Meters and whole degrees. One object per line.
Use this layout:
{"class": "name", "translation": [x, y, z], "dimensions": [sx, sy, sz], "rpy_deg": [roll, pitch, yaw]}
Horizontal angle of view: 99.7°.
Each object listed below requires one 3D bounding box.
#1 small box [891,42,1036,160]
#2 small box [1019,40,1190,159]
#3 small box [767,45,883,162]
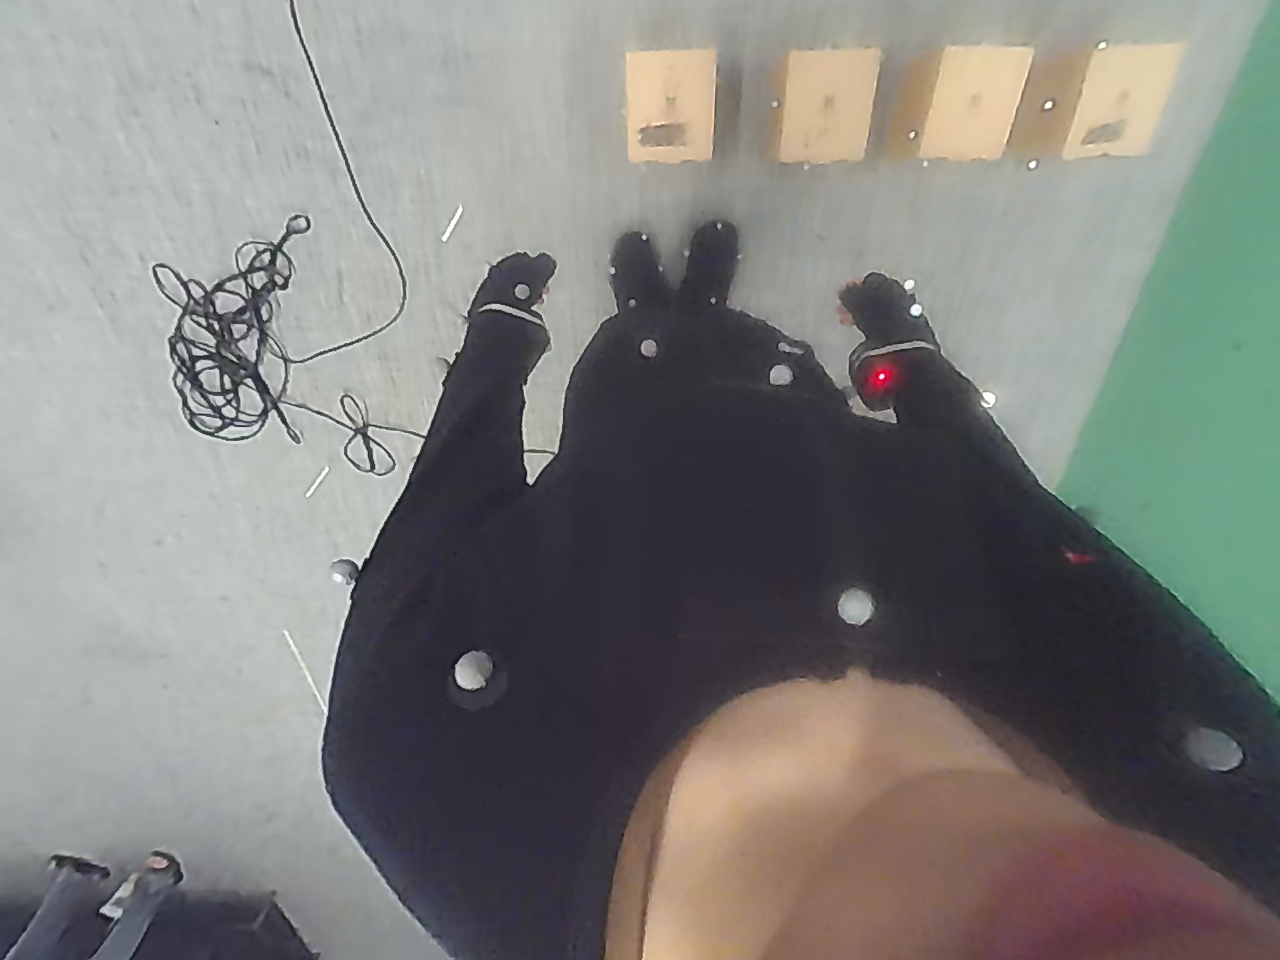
{"class": "small box", "translation": [0.622, -0.737, 1.068], "dimensions": [0.168, 0.176, 0.179], "rpy_deg": [1, 121, 0]}
{"class": "small box", "translation": [0.890, -0.736, 1.062], "dimensions": [0.168, 0.176, 0.179], "rpy_deg": [-2, 120, 2]}
{"class": "small box", "translation": [0.353, -0.735, 1.070], "dimensions": [0.168, 0.176, 0.179], "rpy_deg": [0, 121, 2]}
